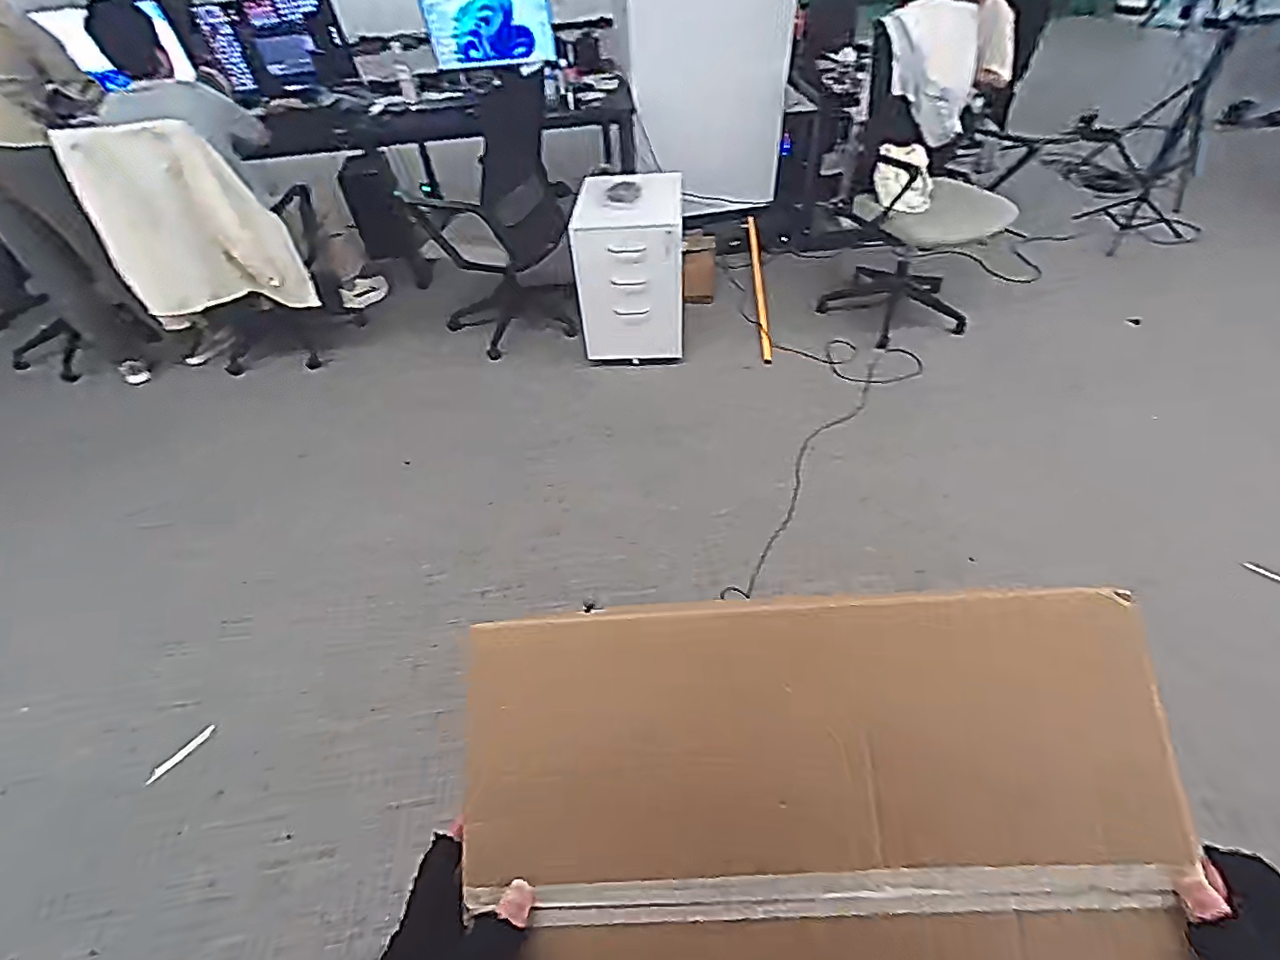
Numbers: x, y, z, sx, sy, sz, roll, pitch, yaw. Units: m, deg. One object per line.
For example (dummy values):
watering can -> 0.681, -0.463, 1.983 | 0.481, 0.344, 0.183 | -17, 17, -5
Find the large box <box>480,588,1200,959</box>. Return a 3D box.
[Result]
large box -> 0.112, 0.267, 0.459 | 0.408, 0.320, 0.320 | -5, 78, 4
